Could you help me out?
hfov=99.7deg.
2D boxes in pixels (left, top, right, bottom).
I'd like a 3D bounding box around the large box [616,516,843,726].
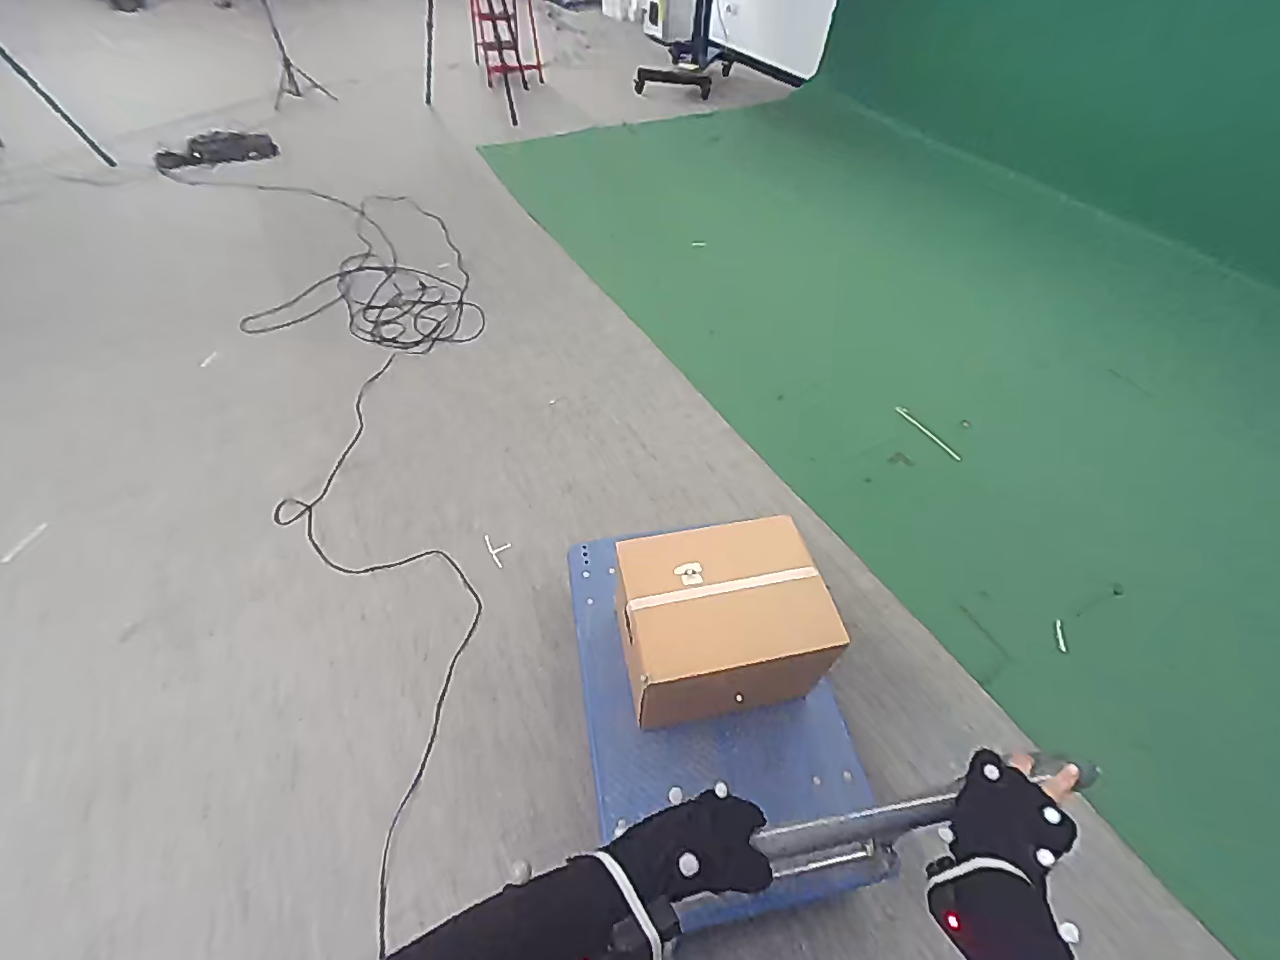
[{"bbox_3d":[0.170,0.320,1.225,0.408,0.320,0.320,-9,51,-9],"label":"large box"}]
